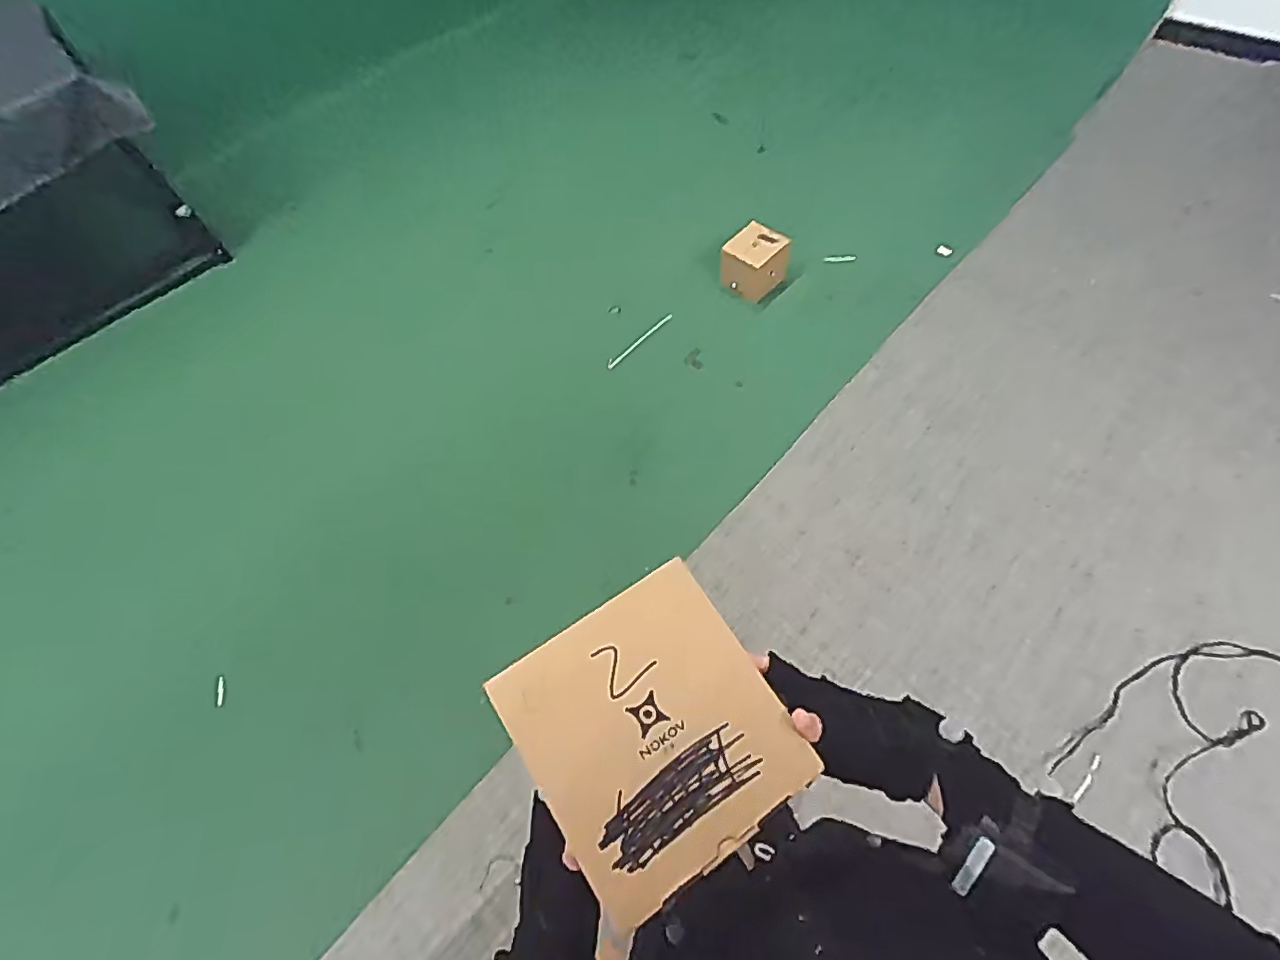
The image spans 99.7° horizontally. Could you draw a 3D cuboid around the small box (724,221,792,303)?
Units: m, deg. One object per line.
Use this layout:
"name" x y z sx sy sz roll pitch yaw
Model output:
"small box" 0.407 -0.766 1.909 0.168 0.176 0.179 40 73 23
